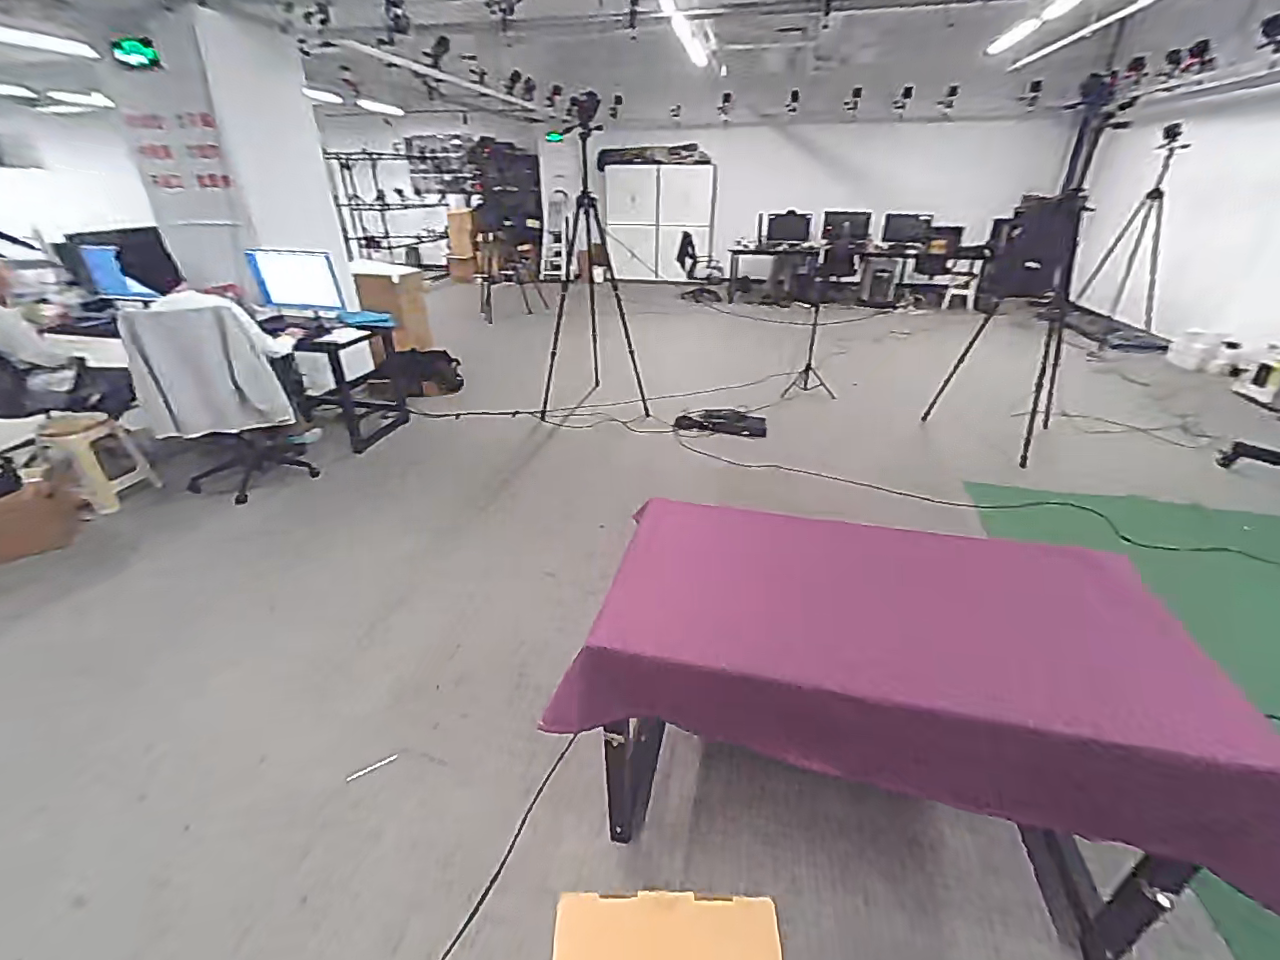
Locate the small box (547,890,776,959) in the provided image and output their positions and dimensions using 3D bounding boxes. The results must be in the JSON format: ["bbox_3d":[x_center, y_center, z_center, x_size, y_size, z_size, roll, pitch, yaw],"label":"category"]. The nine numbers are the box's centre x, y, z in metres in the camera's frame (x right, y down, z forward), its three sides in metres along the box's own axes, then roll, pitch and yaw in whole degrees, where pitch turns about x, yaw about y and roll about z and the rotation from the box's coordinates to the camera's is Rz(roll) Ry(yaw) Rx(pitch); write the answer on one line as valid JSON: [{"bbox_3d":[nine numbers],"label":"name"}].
[{"bbox_3d":[0.016,0.433,0.396,0.168,0.176,0.179,0,37,0],"label":"small box"}]
